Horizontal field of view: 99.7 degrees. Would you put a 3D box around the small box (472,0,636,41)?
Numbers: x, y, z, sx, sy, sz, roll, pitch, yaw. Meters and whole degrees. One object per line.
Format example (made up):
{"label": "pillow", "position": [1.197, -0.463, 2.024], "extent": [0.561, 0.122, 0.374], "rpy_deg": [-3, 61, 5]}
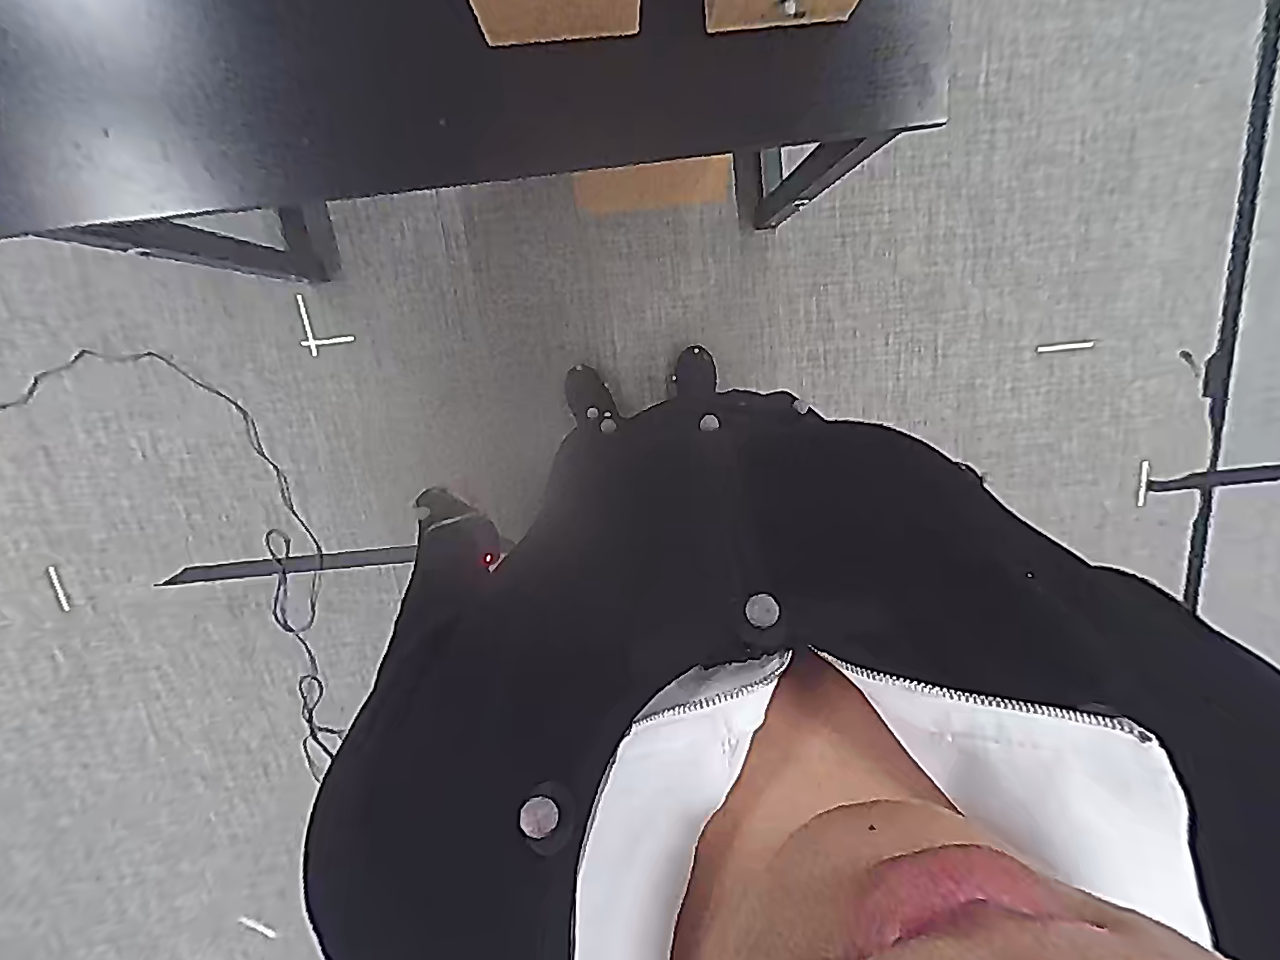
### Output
{"label": "small box", "position": [-0.094, -0.567, 0.527], "extent": [0.179, 0.176, 0.168], "rpy_deg": [-5, 104, -1]}

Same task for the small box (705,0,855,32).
{"label": "small box", "position": [0.151, -0.589, 0.528], "extent": [0.168, 0.176, 0.179], "rpy_deg": [-5, 104, 1]}
